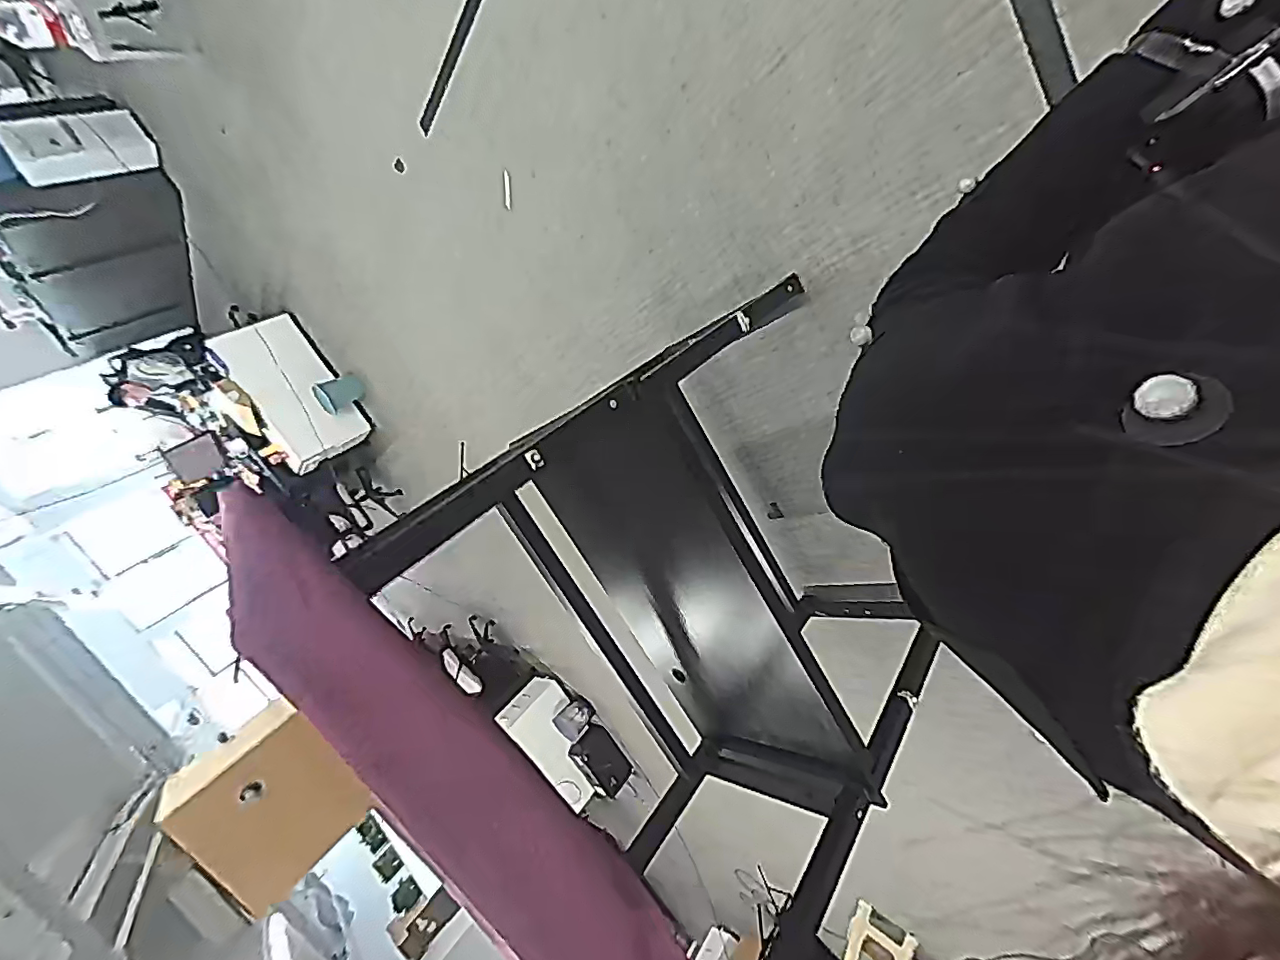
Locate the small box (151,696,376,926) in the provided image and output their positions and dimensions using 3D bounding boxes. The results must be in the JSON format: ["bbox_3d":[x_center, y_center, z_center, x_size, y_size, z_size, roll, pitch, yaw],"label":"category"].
[{"bbox_3d":[-0.493,0.420,0.721,0.168,0.176,0.179,-12,114,51],"label":"small box"}]
